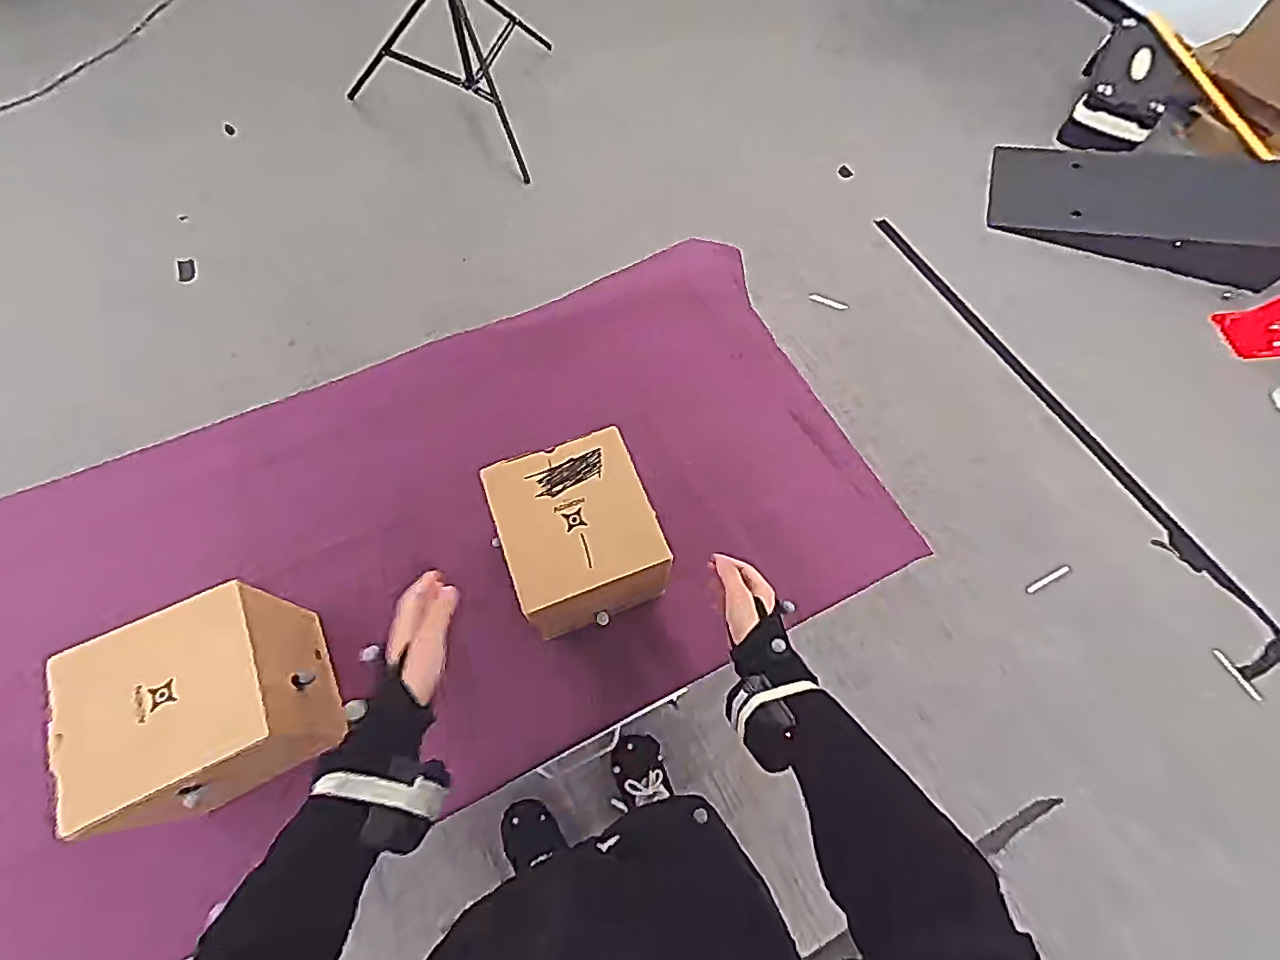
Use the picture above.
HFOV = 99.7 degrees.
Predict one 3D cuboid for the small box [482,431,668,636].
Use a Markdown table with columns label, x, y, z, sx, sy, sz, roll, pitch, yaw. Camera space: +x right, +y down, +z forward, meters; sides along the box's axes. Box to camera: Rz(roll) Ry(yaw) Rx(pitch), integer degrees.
| label | x | y | z | sx | sy | sz | roll | pitch | yaw |
| --- | --- | --- | --- | --- | --- | --- | --- | --- | --- |
| small box | -0.078 | 0.072 | 0.663 | 0.168 | 0.176 | 0.179 | -19 | 68 | -10 |

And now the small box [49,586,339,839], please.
| label | x | y | z | sx | sy | sz | roll | pitch | yaw |
| --- | --- | --- | --- | --- | --- | --- | --- | --- | --- |
| small box | -0.451 | 0.238 | 0.577 | 0.179 | 0.176 | 0.168 | -25 | 68 | -12 |
